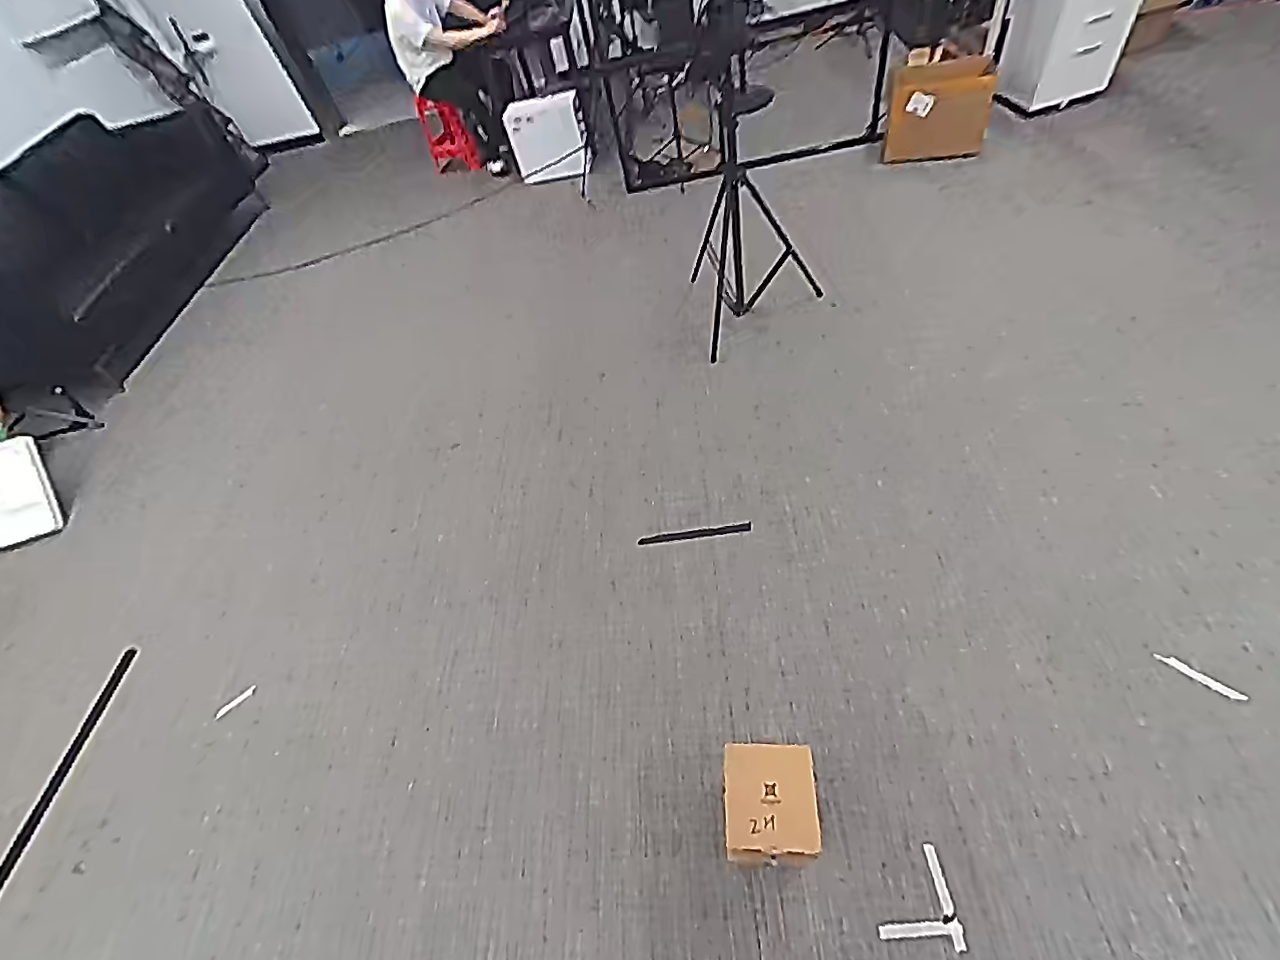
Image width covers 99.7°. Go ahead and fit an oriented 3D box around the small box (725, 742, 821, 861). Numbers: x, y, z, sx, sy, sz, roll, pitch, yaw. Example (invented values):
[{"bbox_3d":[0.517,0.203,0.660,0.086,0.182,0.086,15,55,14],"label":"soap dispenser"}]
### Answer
[{"bbox_3d":[0.253,0.625,1.052,0.168,0.176,0.179,-4,53,12],"label":"small box"}]
